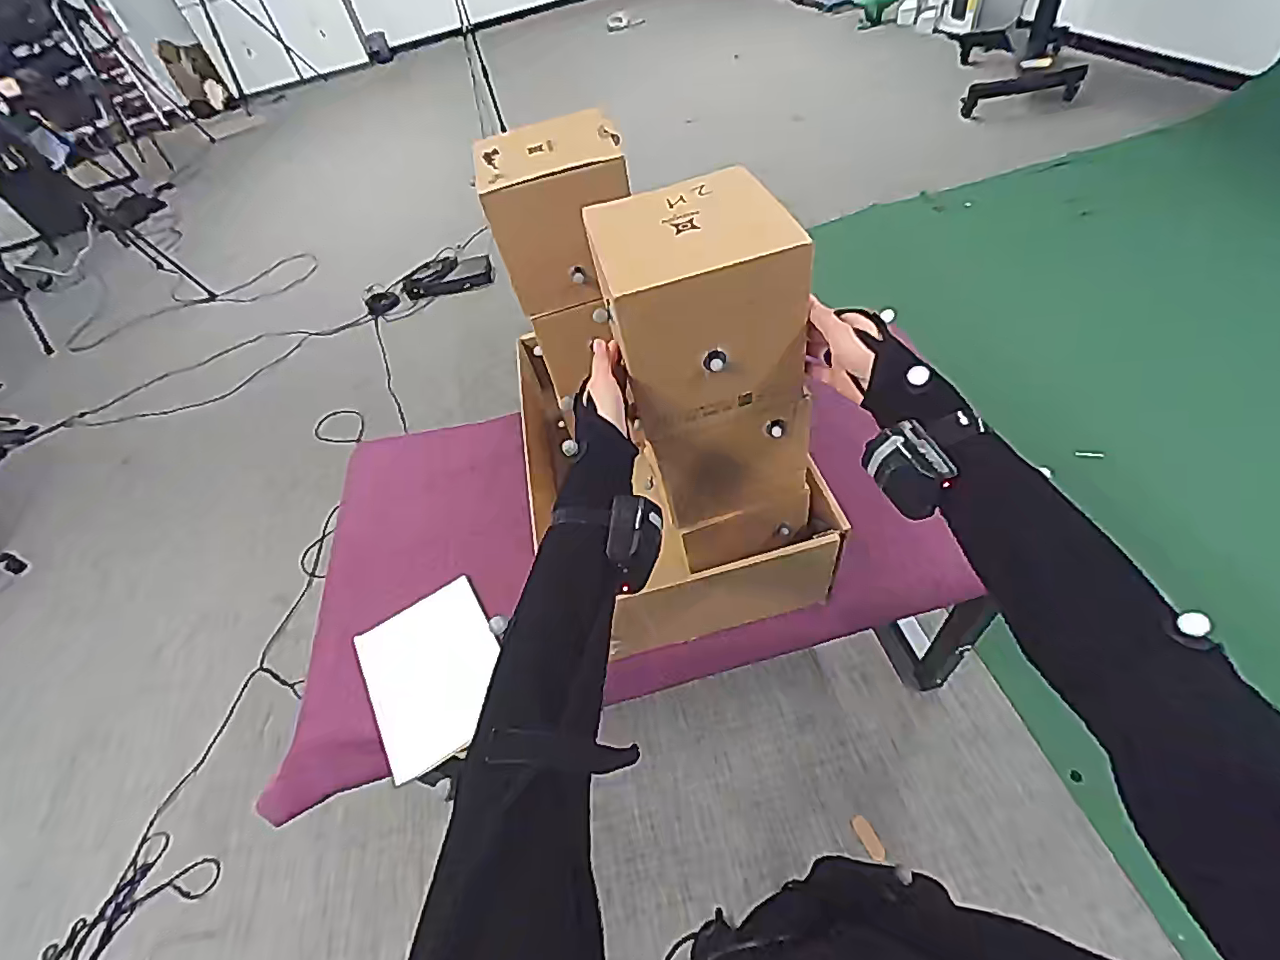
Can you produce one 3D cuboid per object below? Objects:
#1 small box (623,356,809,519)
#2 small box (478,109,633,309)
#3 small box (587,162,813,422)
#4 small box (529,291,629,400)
[{"bbox_3d":[0.091,-0.075,0.660,0.179,0.176,0.168,-15,49,0],"label":"small box"},{"bbox_3d":[-0.102,-0.357,0.722,0.179,0.176,0.168,-15,51,-2],"label":"small box"},{"bbox_3d":[0.056,-0.177,0.535,0.168,0.176,0.179,-15,48,-1],"label":"small box"},{"bbox_3d":[-0.073,-0.255,0.847,0.179,0.176,0.168,-17,51,-2],"label":"small box"}]
